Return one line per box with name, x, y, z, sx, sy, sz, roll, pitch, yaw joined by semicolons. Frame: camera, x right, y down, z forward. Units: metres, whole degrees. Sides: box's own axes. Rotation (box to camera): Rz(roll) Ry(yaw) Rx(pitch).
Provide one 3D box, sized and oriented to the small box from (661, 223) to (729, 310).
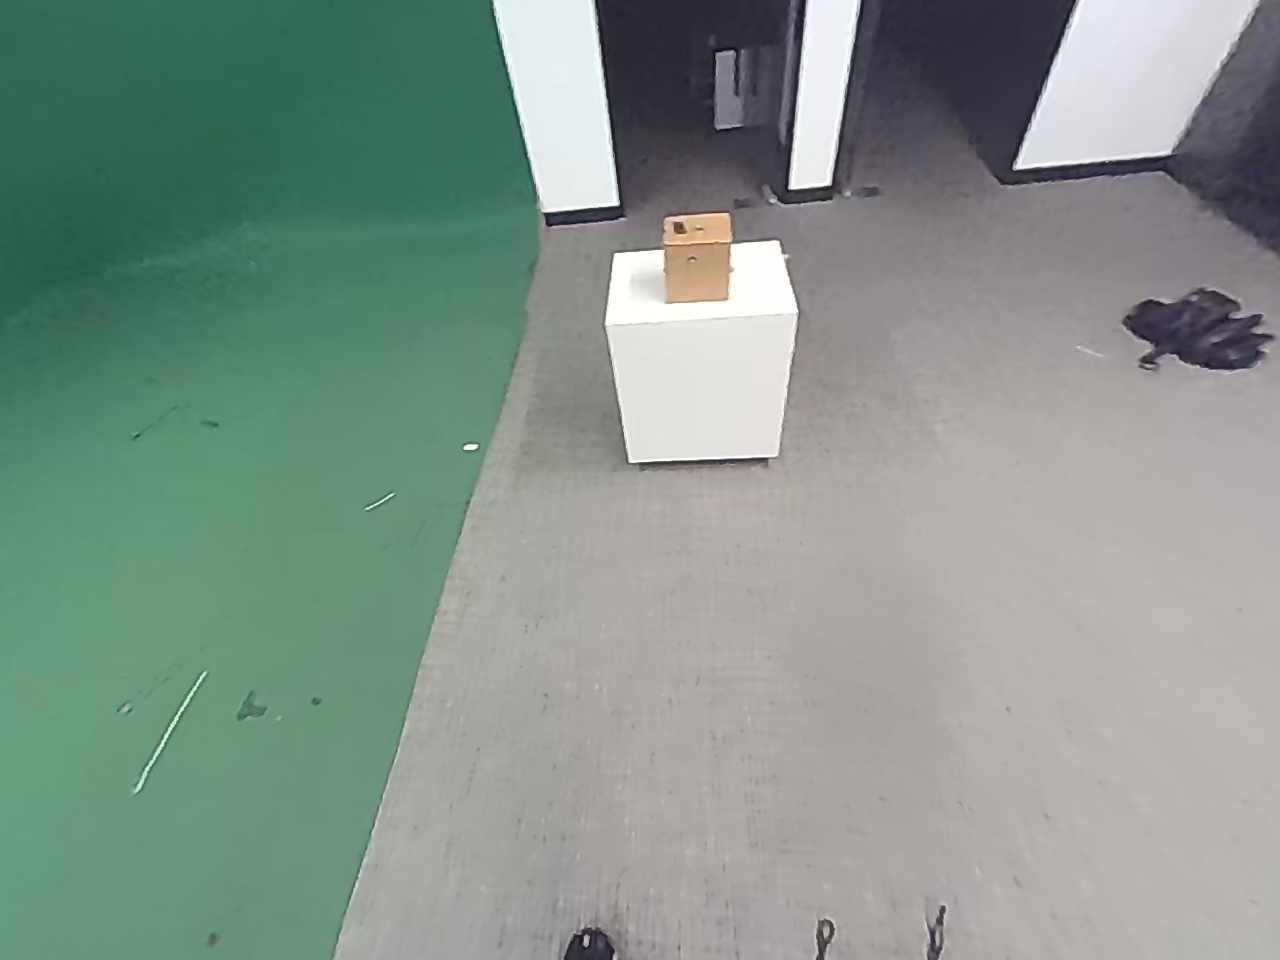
small box;0.154;-0.586;1.493;0.179;0.176;0.168;-1;49;7
